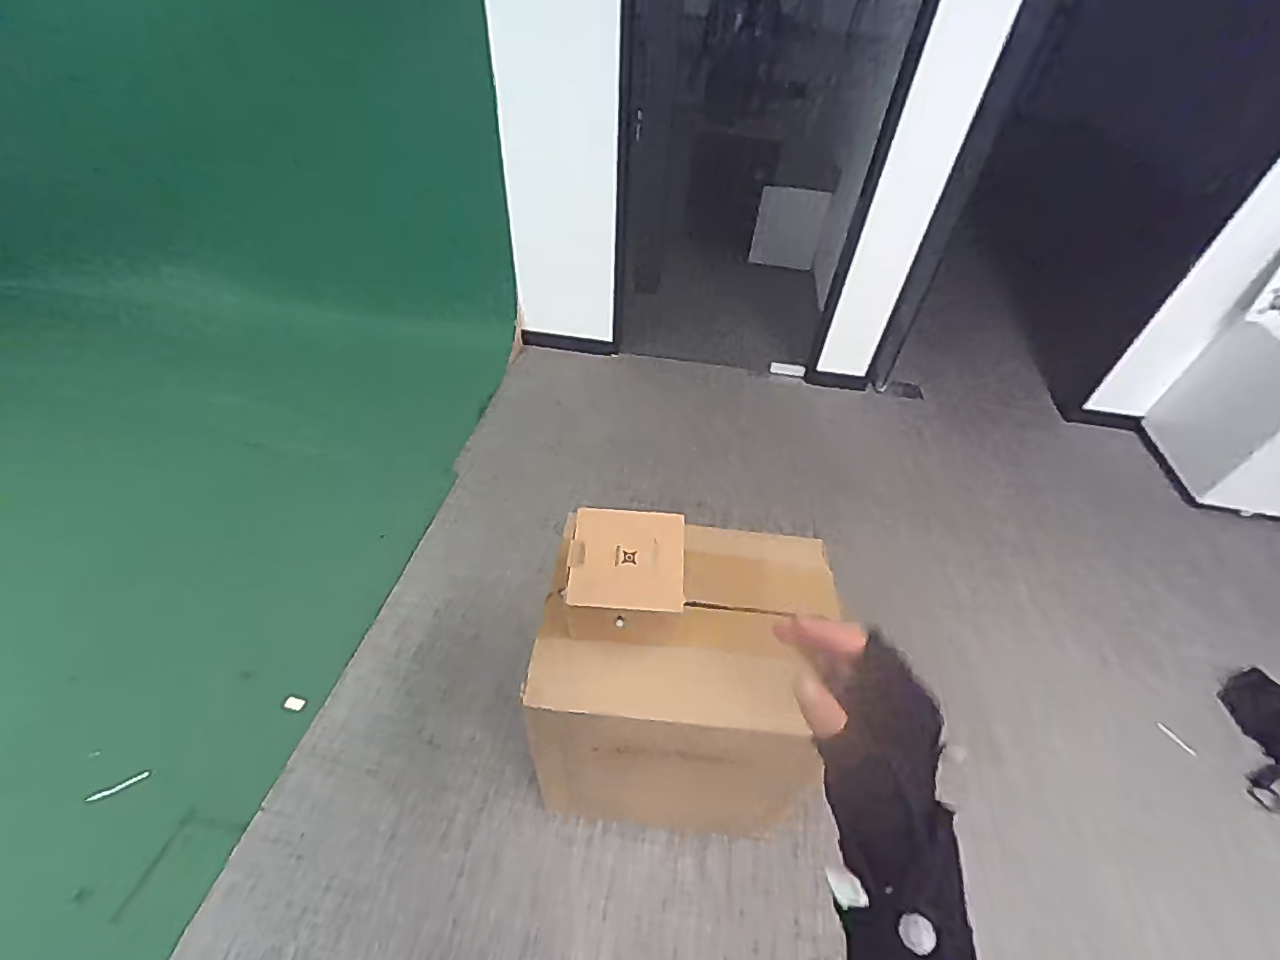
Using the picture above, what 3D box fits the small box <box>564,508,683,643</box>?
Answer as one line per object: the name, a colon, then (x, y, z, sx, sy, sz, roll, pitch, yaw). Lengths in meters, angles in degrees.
small box: (-0.025, 0.163, 0.898, 0.179, 0.176, 0.168, 4, 57, -2)
